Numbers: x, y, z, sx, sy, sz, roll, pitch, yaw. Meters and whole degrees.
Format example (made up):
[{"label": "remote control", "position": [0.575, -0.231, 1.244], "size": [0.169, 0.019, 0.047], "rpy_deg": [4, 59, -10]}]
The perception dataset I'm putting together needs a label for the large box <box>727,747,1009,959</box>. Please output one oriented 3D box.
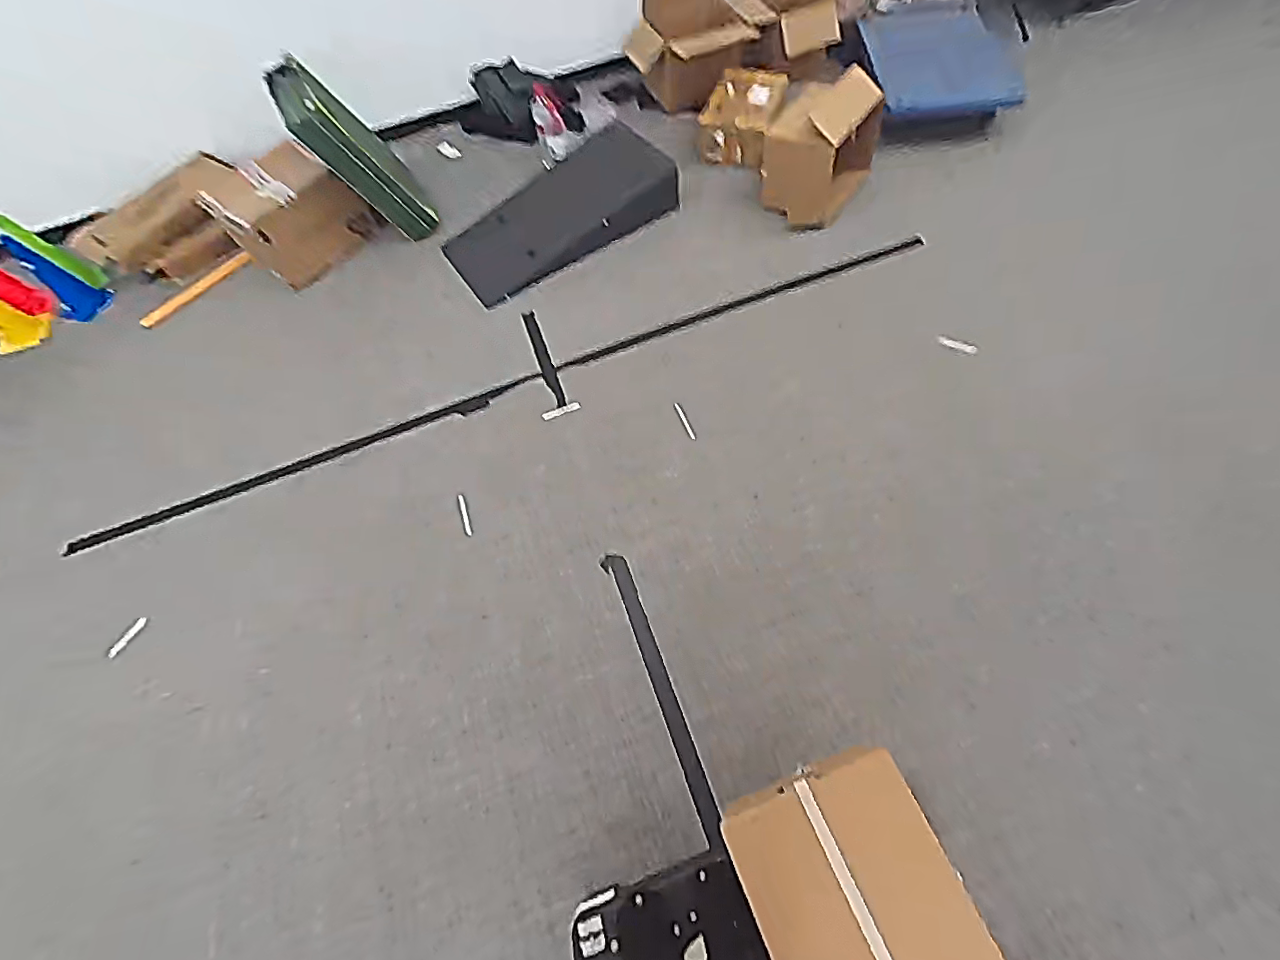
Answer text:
[{"label": "large box", "position": [0.382, 0.738, 0.951], "size": [0.320, 0.320, 0.408], "rpy_deg": [-25, 63, 1]}]
